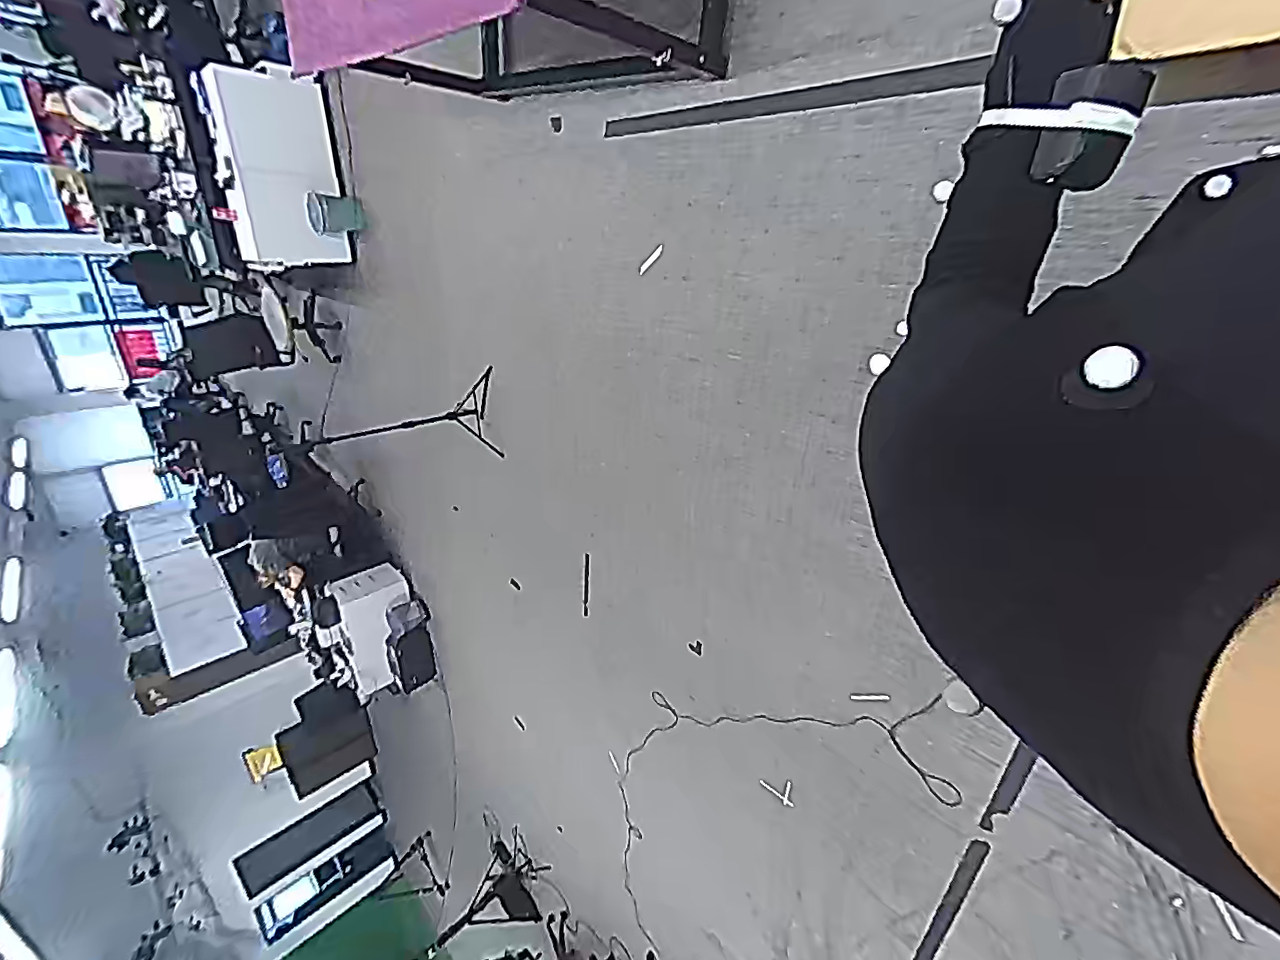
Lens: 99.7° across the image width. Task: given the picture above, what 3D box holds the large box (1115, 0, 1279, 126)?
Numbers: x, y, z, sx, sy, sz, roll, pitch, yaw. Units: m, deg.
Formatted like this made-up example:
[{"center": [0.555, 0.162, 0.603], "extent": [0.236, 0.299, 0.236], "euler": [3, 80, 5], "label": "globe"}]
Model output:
[{"center": [0.543, -0.396, 0.266], "extent": [0.408, 0.320, 0.320], "euler": [19, 124, 37], "label": "large box"}]
